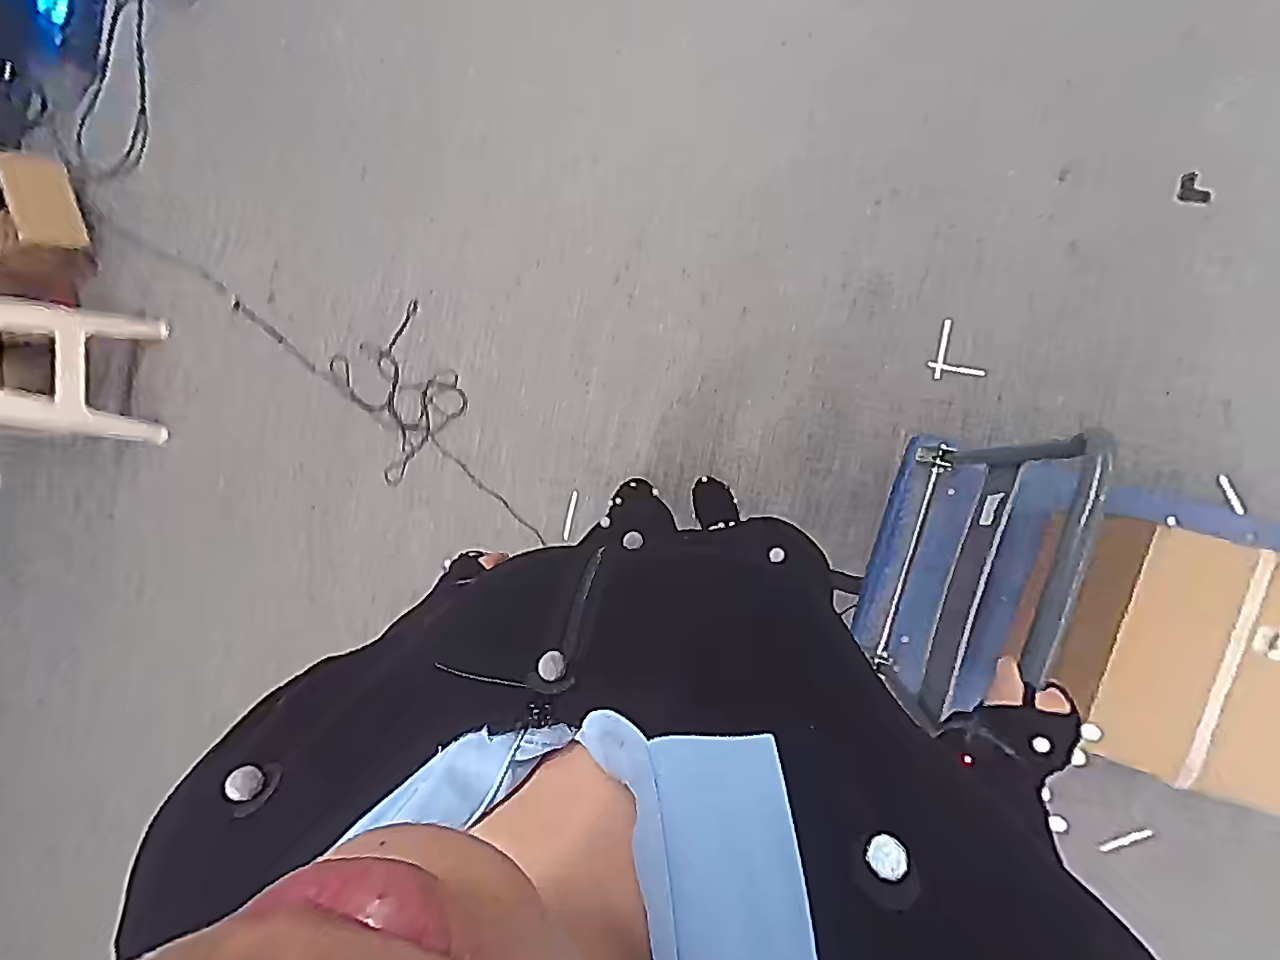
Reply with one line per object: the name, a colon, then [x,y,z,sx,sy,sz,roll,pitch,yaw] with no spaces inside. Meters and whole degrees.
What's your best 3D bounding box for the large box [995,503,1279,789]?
large box: [0.963,0.278,1.044,0.320,0.320,0.408,16,92,8]
